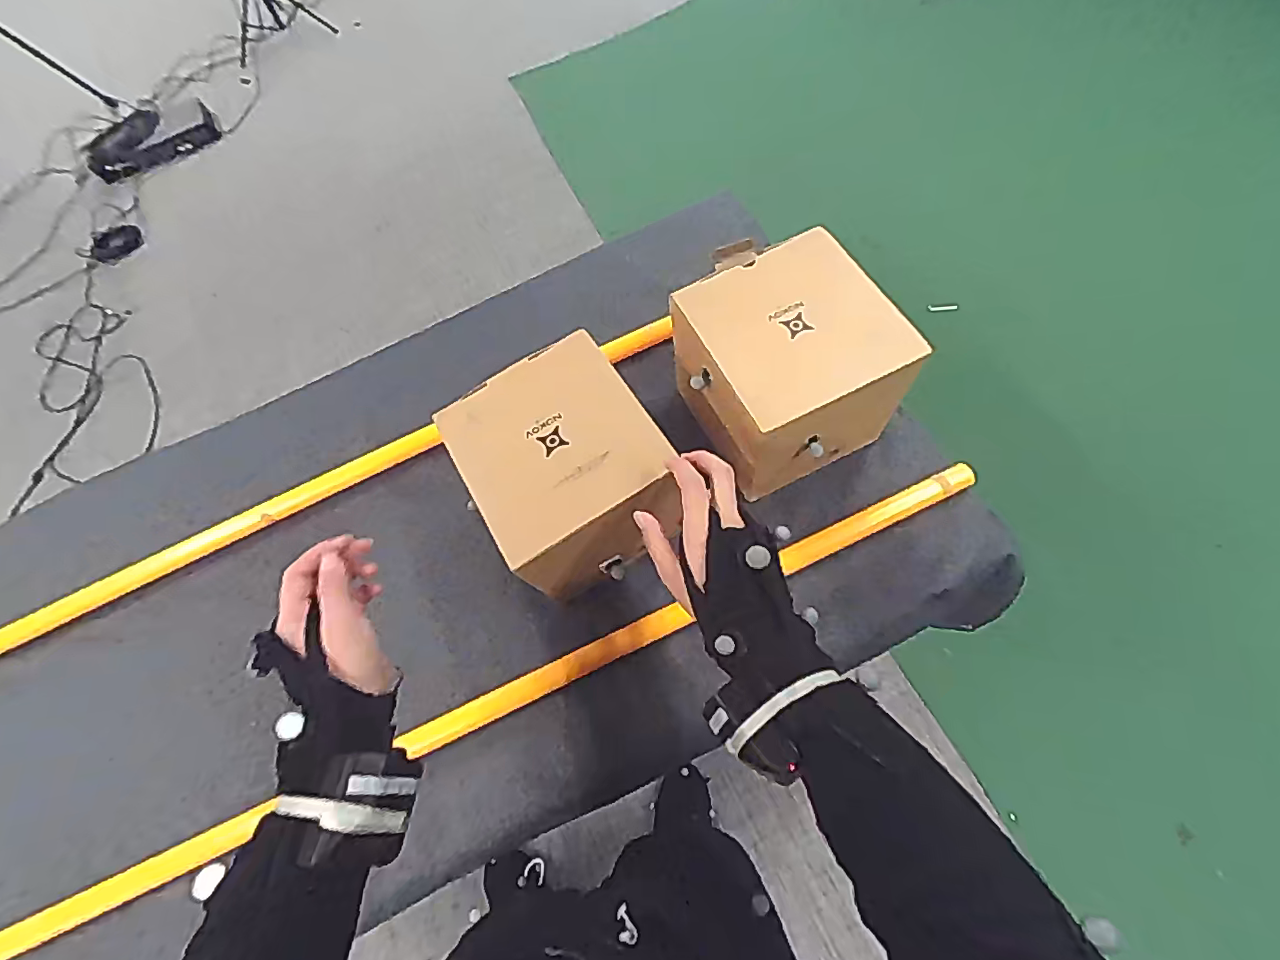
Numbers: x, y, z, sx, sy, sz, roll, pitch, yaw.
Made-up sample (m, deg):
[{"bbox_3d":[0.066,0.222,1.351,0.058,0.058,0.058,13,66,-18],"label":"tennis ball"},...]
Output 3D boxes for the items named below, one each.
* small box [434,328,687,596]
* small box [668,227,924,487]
[{"bbox_3d":[-0.067,-0.008,0.542,0.168,0.176,0.179,-33,67,-6],"label":"small box"},{"bbox_3d":[0.145,-0.111,0.559,0.168,0.176,0.179,-26,65,-4],"label":"small box"}]
